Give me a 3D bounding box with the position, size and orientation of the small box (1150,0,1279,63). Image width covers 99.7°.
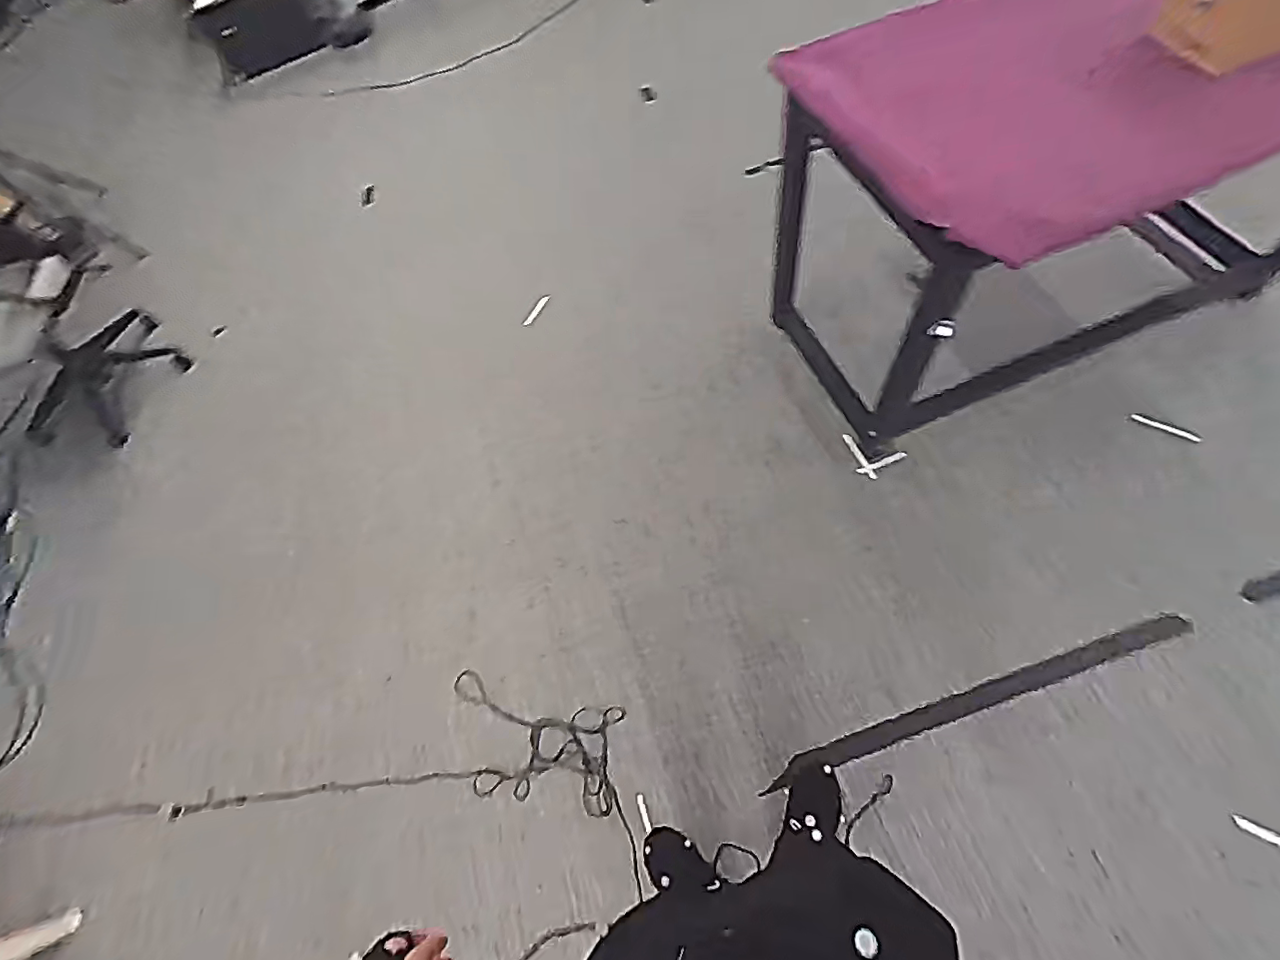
[{"bbox_3d":[0.977,-0.810,0.856,0.179,0.176,0.168,-21,64,1],"label":"small box"}]
